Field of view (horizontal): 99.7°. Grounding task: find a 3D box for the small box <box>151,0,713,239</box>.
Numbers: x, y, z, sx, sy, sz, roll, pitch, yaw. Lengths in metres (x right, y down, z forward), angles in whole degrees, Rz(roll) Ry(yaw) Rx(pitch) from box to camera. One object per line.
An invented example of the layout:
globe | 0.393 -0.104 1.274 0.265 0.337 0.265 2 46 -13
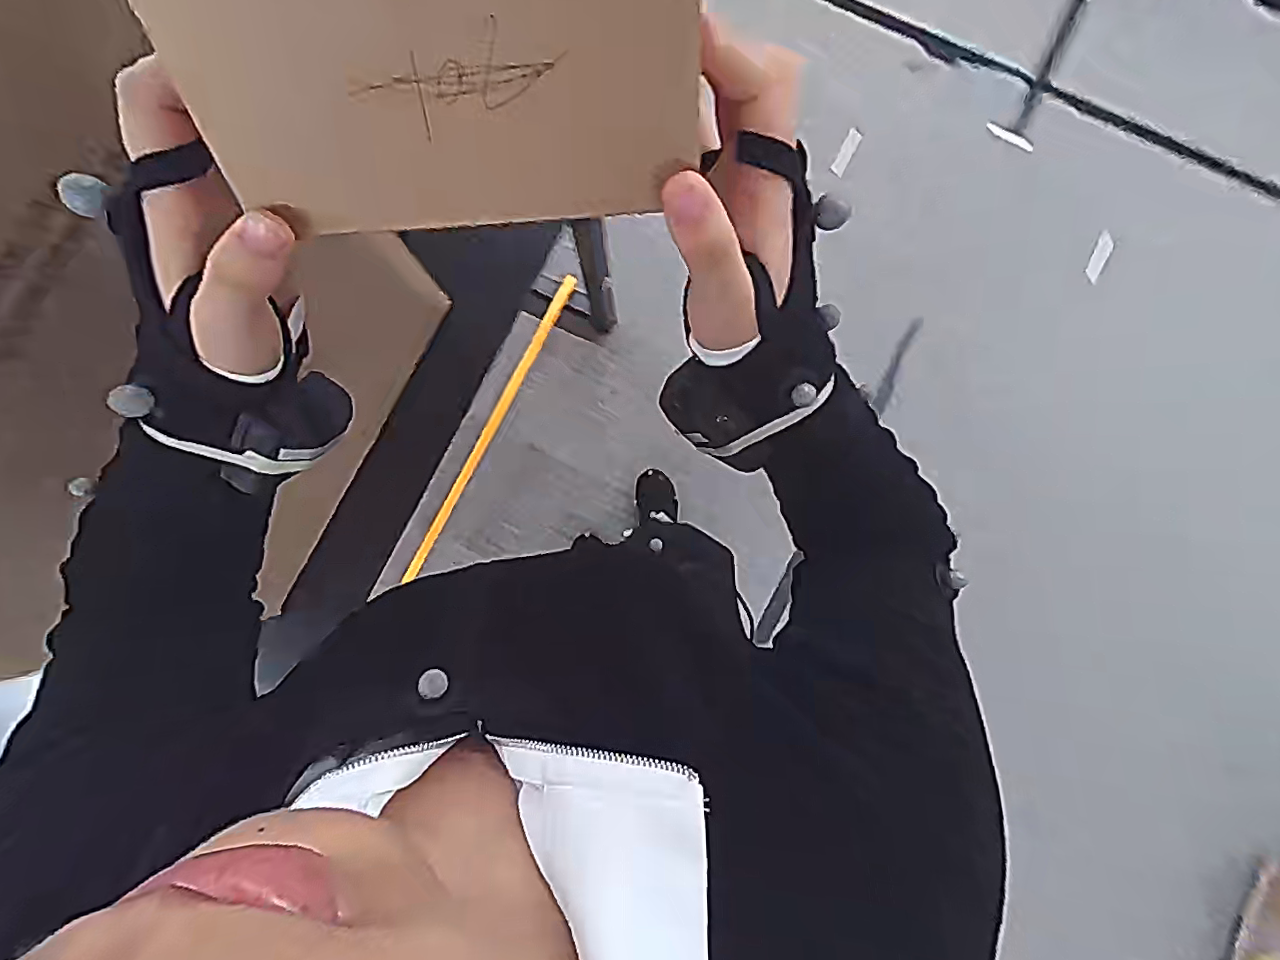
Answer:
small box | -0.061 -0.212 0.202 0.168 0.179 0.176 -2 44 3
